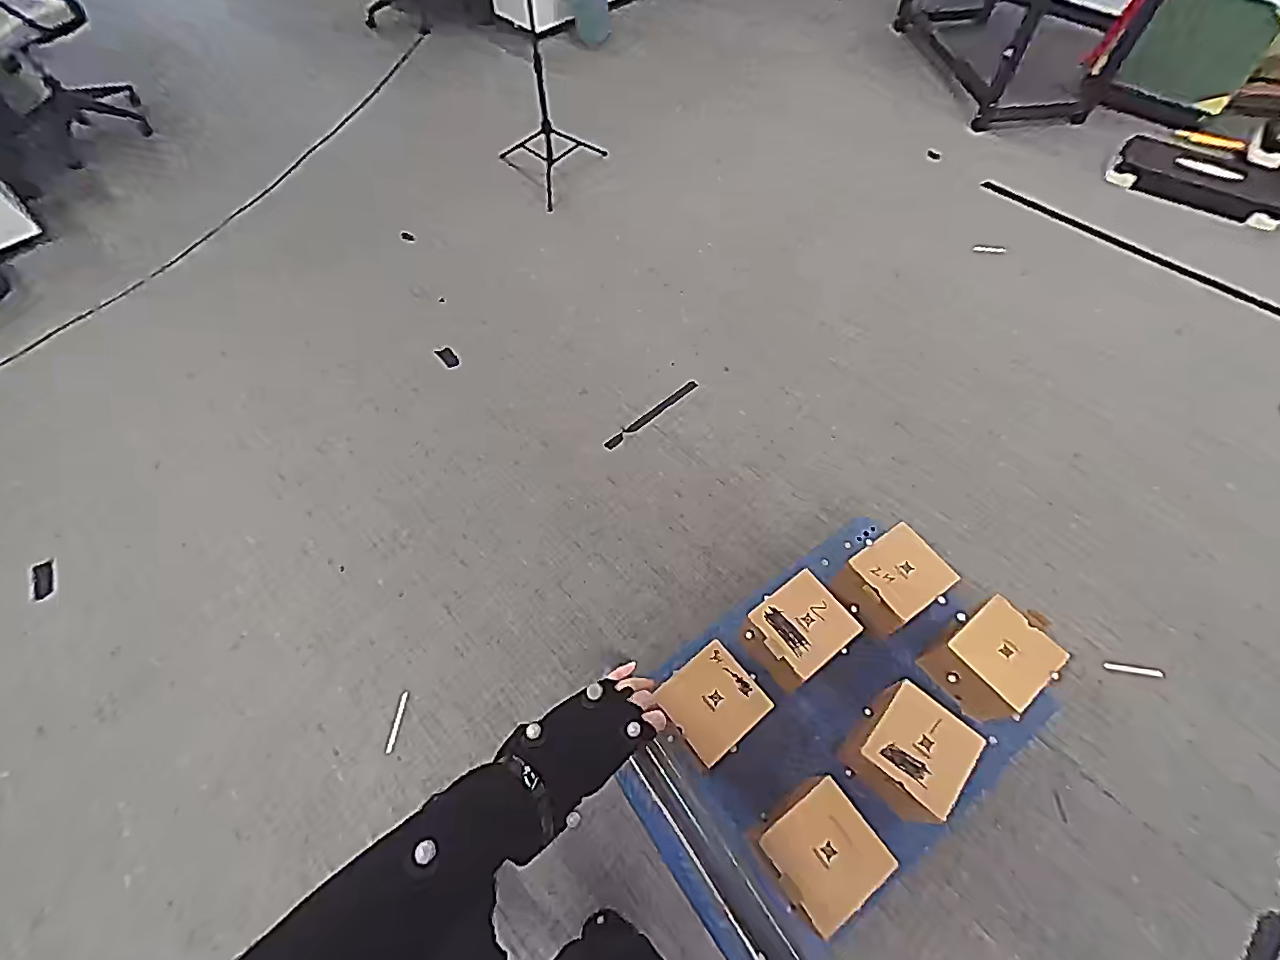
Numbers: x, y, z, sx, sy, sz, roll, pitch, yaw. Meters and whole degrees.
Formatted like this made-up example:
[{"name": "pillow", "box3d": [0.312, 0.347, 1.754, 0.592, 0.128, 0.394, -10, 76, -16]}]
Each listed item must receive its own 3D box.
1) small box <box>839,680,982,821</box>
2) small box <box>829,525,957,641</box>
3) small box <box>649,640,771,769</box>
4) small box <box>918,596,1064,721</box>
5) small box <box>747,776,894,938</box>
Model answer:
[{"name": "small box", "box3d": [0.515, 0.531, 1.060, 0.168, 0.176, 0.179, 38, 66, 20]}, {"name": "small box", "box3d": [0.563, 0.239, 1.231, 0.179, 0.176, 0.168, -30, 63, -15]}, {"name": "small box", "box3d": [0.136, 0.463, 1.101, 0.179, 0.176, 0.168, -35, 66, -18]}, {"name": "small box", "box3d": [0.727, 0.384, 1.147, 0.179, 0.176, 0.168, -34, 65, -18]}, {"name": "small box", "box3d": [0.312, 0.670, 0.981, 0.179, 0.176, 0.168, -31, 64, -17]}]
